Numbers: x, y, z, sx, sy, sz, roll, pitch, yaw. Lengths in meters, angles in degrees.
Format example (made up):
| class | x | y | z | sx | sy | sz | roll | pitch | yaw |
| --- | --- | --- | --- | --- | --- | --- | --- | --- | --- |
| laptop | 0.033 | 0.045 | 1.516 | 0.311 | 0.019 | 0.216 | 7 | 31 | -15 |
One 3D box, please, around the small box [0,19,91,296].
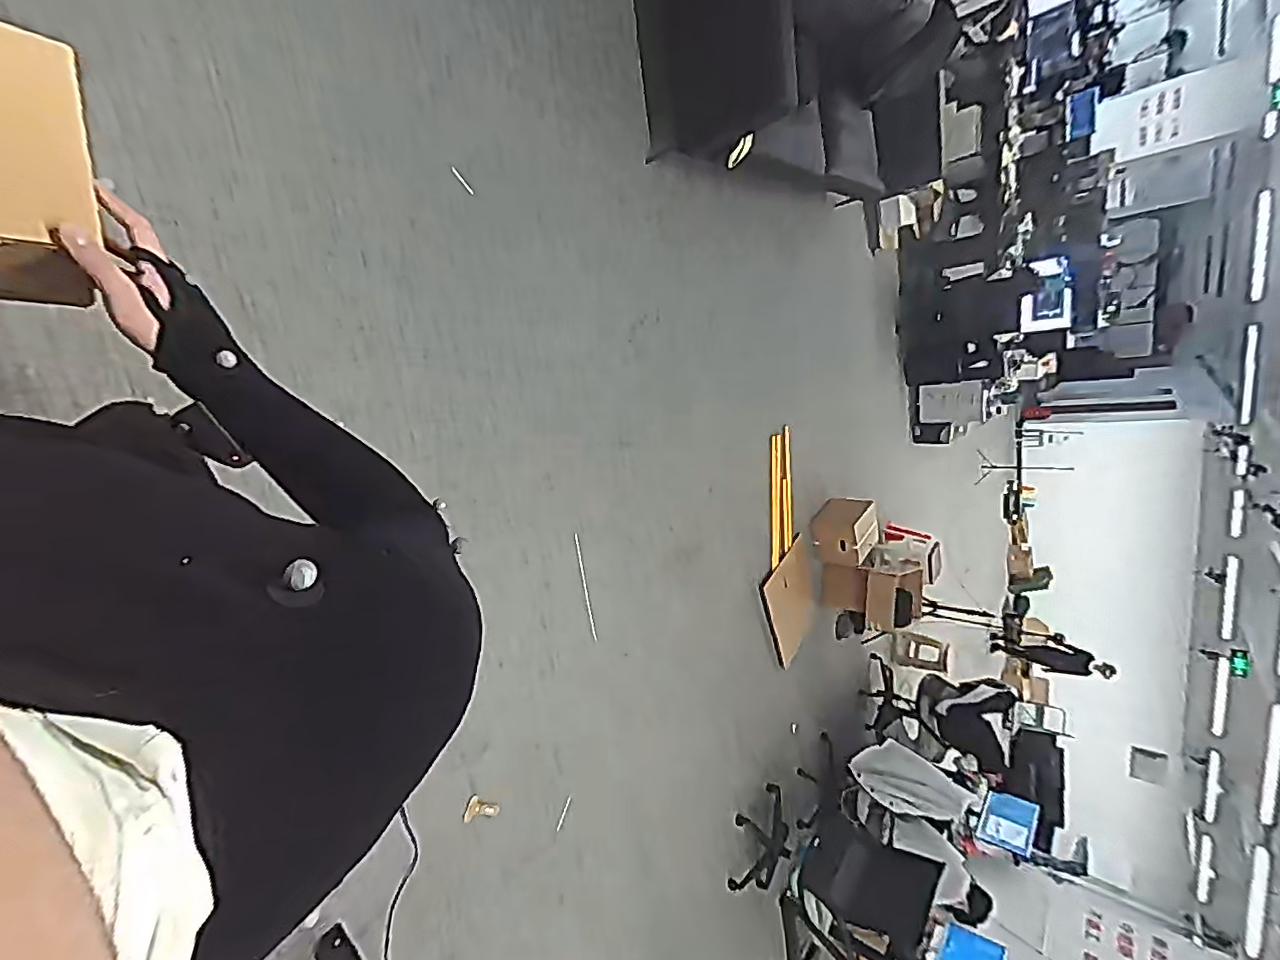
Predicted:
| class | x | y | z | sx | sy | sz | roll | pitch | yaw |
| --- | --- | --- | --- | --- | --- | --- | --- | --- | --- |
| small box | -0.590 | -0.271 | 0.449 | 0.168 | 0.176 | 0.179 | -10 | 95 | -48 |
